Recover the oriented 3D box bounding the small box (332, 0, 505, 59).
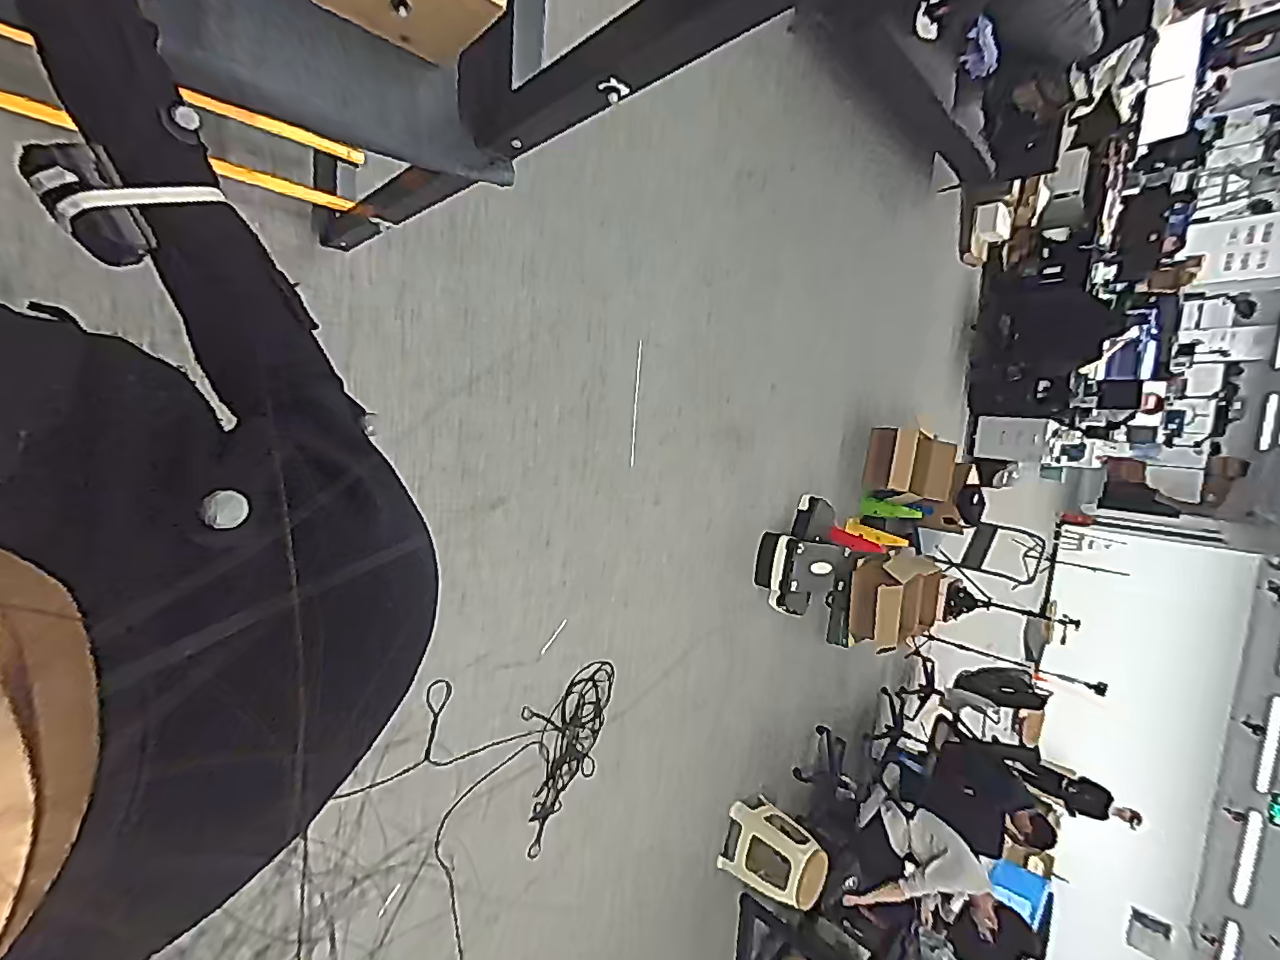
[{"bbox_3d":[-0.268,-0.641,0.624,0.168,0.176,0.179,-4,99,-45],"label":"small box"}]
